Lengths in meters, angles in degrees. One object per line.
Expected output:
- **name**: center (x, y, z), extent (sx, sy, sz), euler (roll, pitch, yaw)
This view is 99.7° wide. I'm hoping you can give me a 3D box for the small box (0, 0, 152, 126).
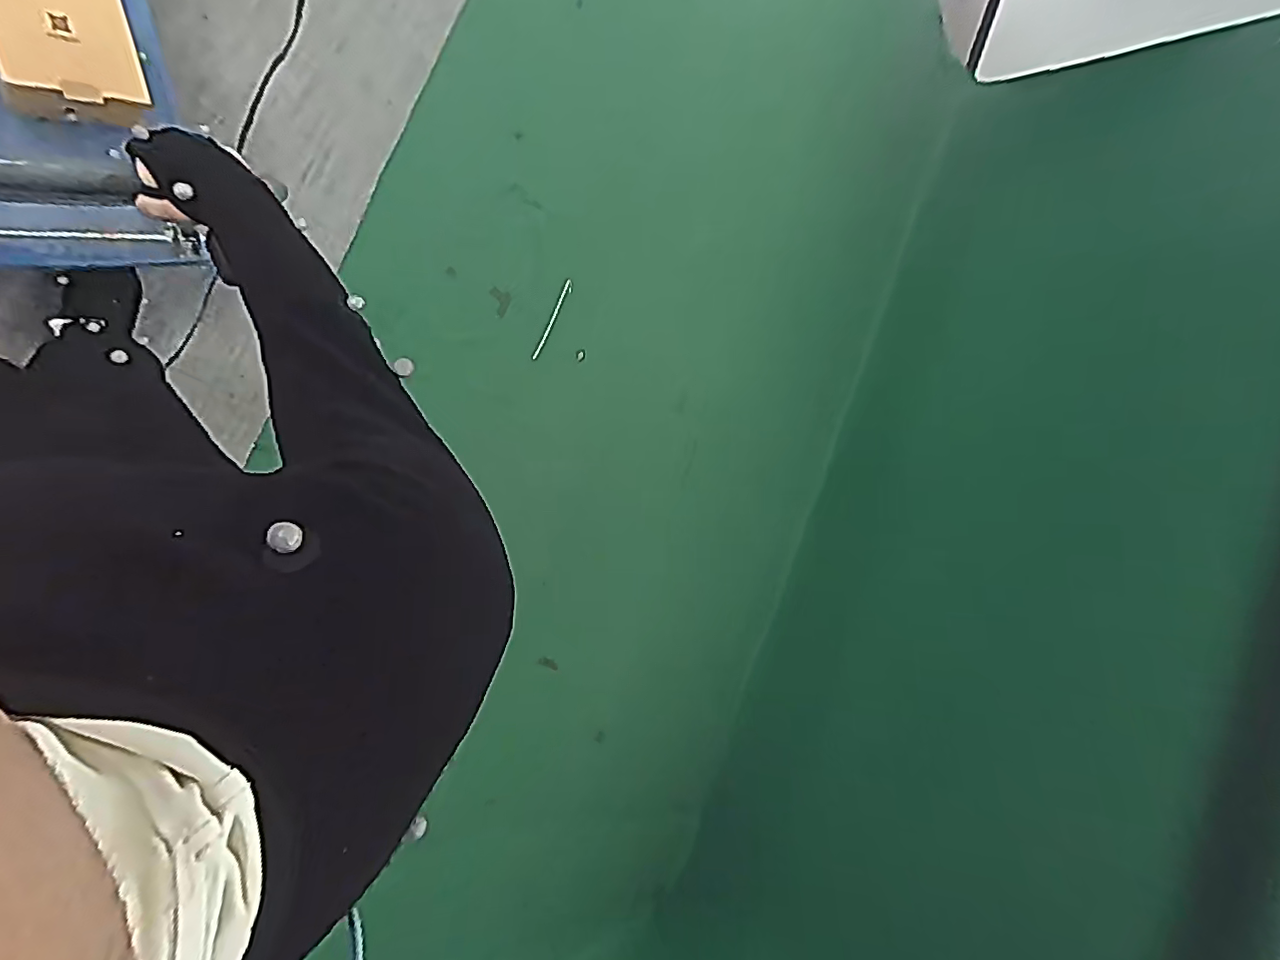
- **small box**: center (-0.915, -0.687, 0.851), extent (0.168, 0.176, 0.179), euler (-22, 119, -42)
